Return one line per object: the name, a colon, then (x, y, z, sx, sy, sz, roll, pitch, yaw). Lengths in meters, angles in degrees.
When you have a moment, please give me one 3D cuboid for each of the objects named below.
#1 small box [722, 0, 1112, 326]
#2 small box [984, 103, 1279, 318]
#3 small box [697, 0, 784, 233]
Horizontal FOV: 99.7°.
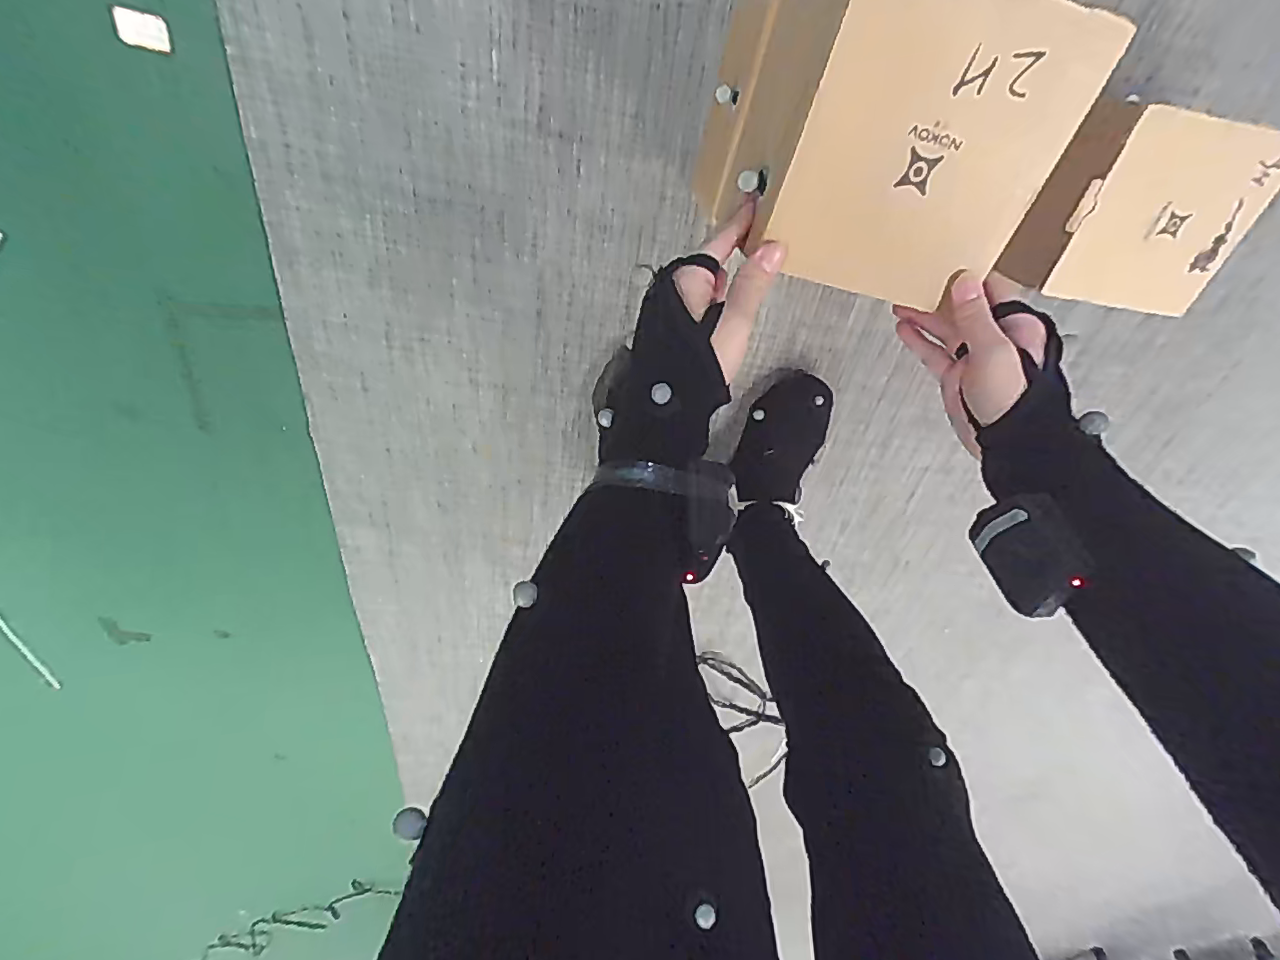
small box: (0.169, -0.244, 0.406, 0.168, 0.176, 0.179, 10, 124, -10)
small box: (0.496, -0.293, 0.583, 0.179, 0.176, 0.168, 7, 126, -5)
small box: (0.160, -0.341, 0.538, 0.168, 0.176, 0.179, 9, 125, -9)
